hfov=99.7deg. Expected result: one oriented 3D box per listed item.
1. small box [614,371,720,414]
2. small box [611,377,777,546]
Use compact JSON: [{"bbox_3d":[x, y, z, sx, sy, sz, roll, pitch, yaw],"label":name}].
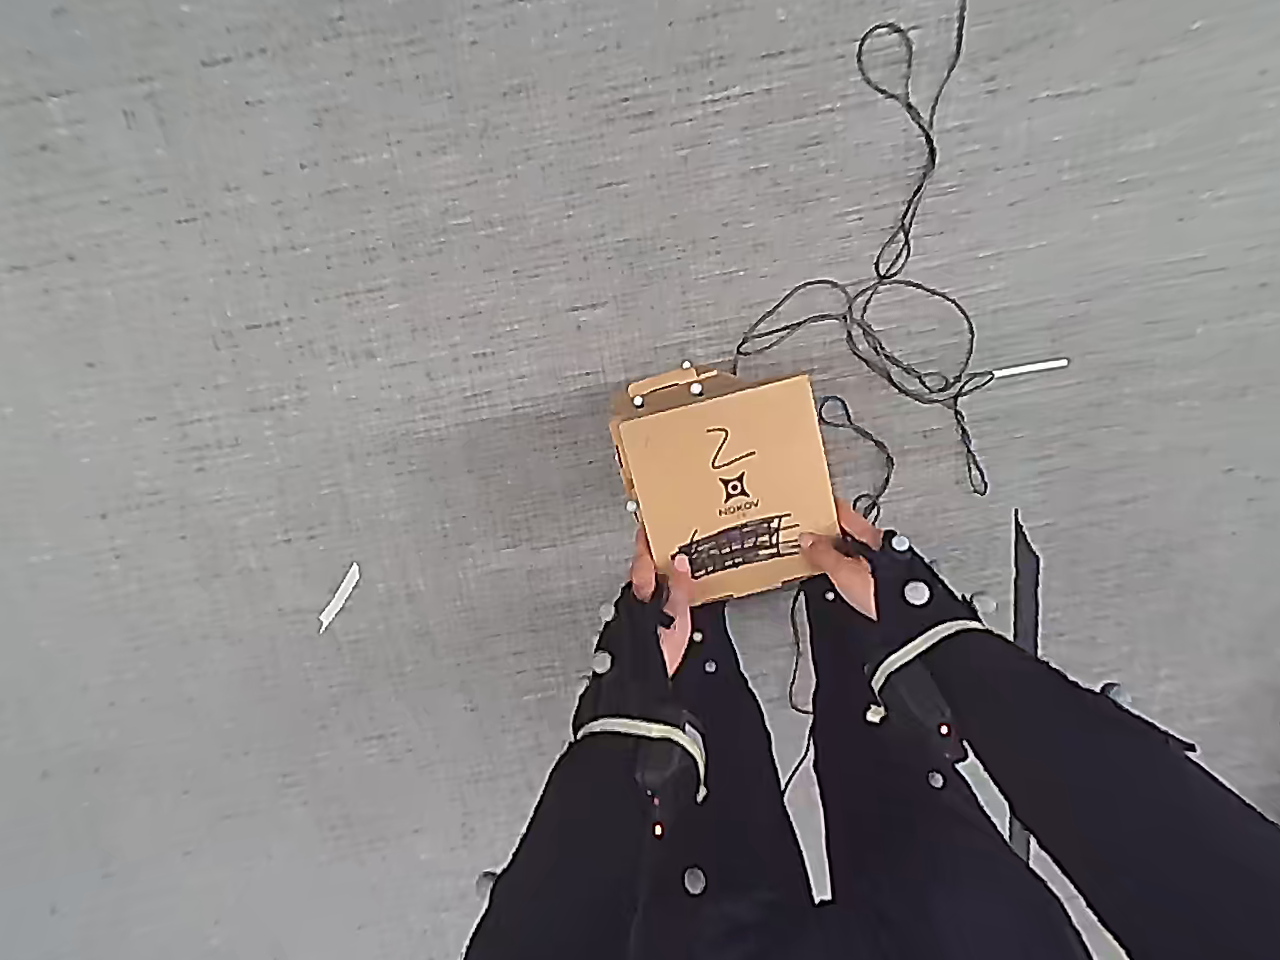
[{"bbox_3d":[0.059,-0.074,0.885,0.168,0.176,0.179,-17,105,4],"label":"small box"},{"bbox_3d":[0.066,-0.035,0.728,0.179,0.176,0.168,-15,105,4],"label":"small box"}]
